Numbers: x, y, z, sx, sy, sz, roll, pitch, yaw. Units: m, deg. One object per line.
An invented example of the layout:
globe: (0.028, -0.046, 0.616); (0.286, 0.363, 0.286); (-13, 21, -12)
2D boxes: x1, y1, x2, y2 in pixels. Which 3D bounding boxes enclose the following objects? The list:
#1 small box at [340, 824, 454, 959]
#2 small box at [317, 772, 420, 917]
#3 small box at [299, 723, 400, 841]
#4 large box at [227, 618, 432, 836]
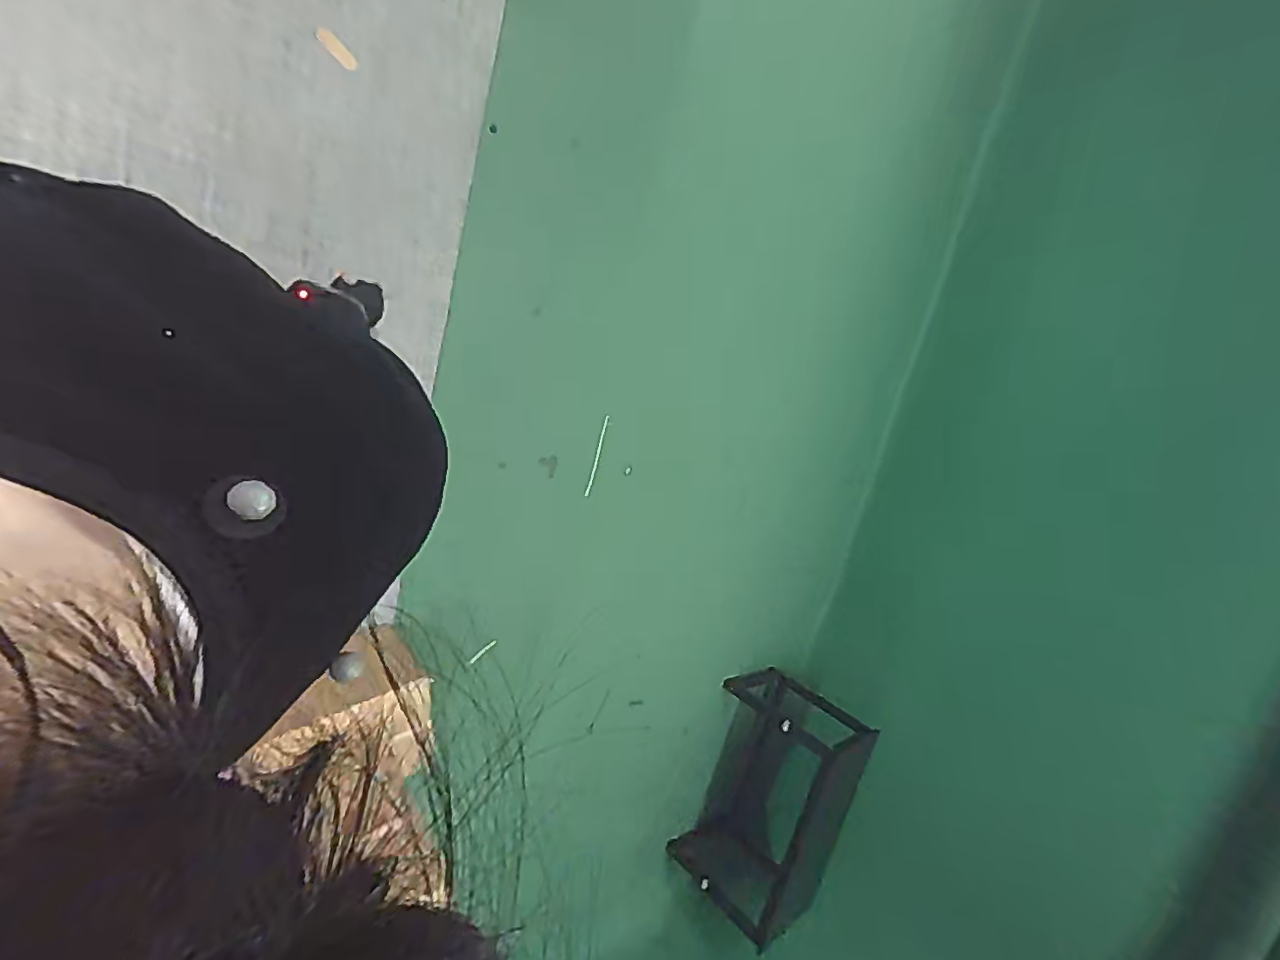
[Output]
small box: (-0.485, 0.830, 1.076); (0.168, 0.176, 0.179); (-9, 112, -41)
small box: (-0.597, 0.779, 1.185); (0.168, 0.176, 0.179); (-7, 112, -42)
small box: (-0.698, 0.724, 1.302); (0.179, 0.176, 0.168); (-9, 113, -41)
large box: (-0.839, 0.643, 1.487); (0.408, 0.320, 0.320); (-14, 119, -41)
